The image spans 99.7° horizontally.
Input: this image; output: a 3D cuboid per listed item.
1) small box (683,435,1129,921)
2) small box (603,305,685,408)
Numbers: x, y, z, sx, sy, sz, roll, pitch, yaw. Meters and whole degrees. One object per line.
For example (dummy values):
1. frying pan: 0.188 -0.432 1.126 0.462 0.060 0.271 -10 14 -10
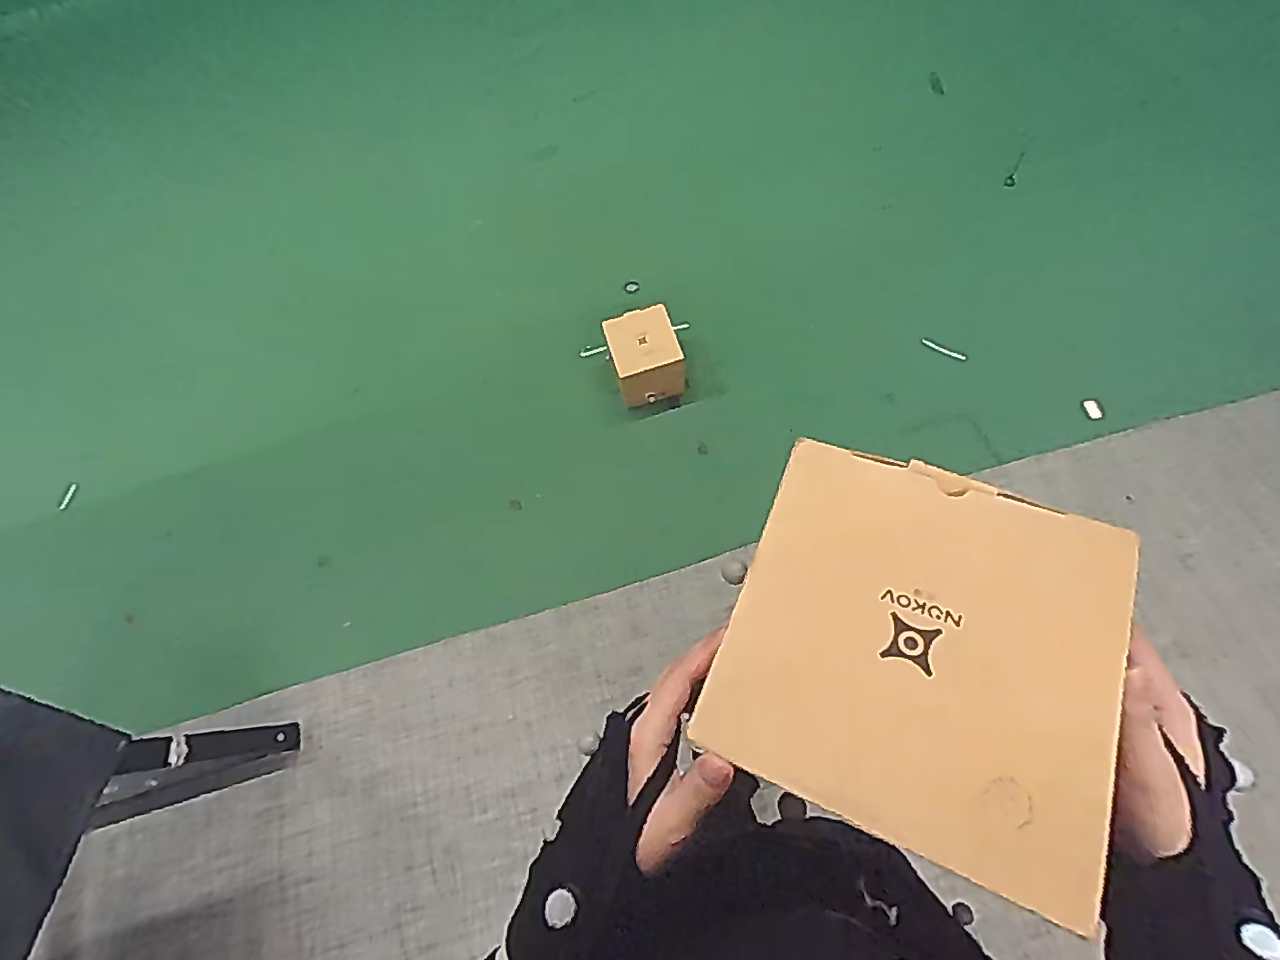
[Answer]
1. small box: 0.142 0.105 0.329 0.168 0.176 0.179 19 69 19
2. small box: 0.012 -0.315 1.402 0.168 0.176 0.179 -18 70 -1
